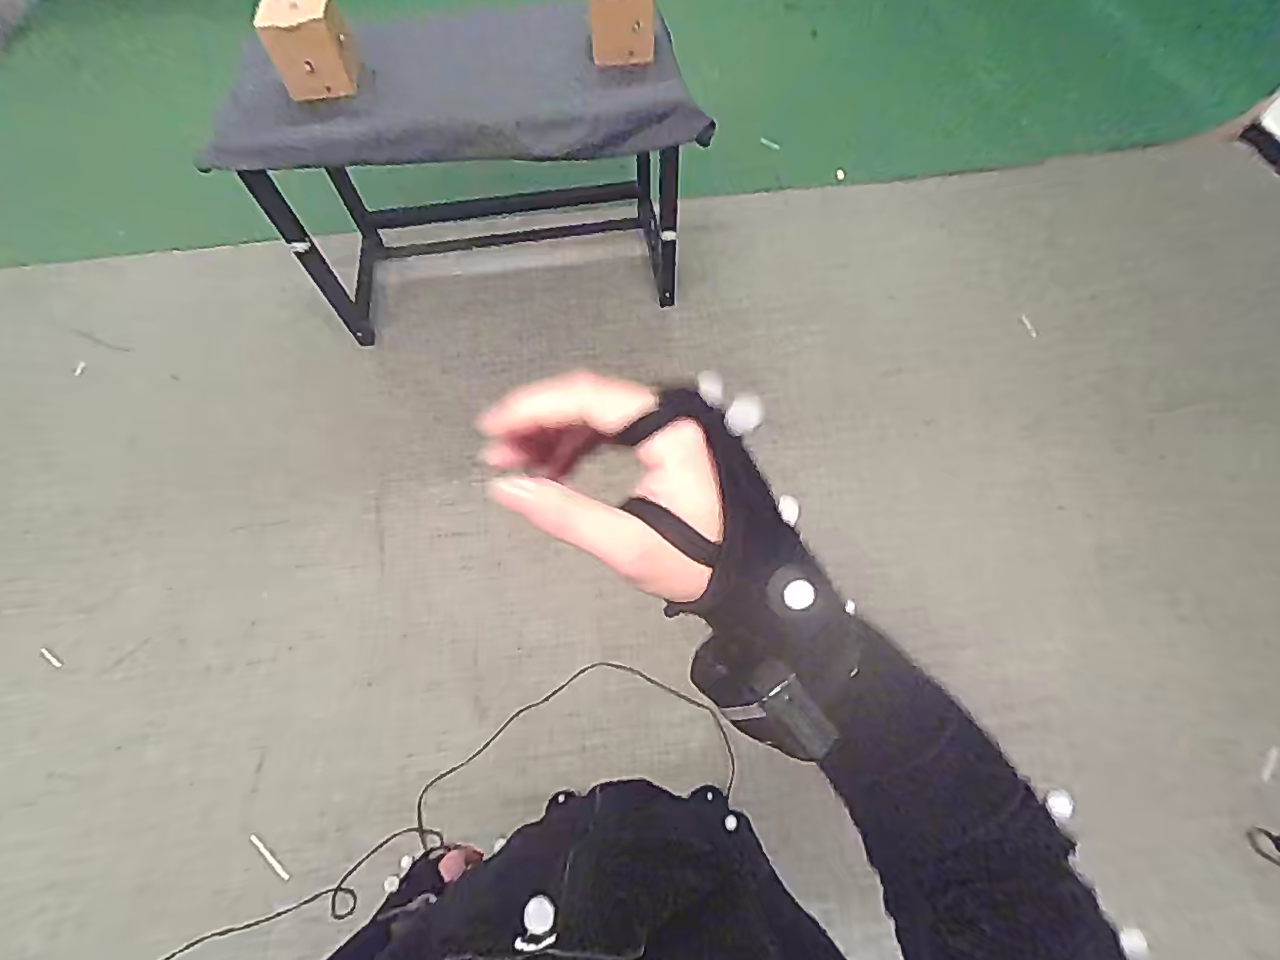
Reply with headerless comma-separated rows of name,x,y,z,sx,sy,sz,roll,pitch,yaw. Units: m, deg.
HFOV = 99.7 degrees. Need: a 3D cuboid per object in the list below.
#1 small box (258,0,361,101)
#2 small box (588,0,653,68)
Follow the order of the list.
small box,-0.851,-1.121,1.411,0.168,0.176,0.179,-9,63,-4
small box,-0.054,-1.243,1.456,0.168,0.176,0.179,-5,62,-2
